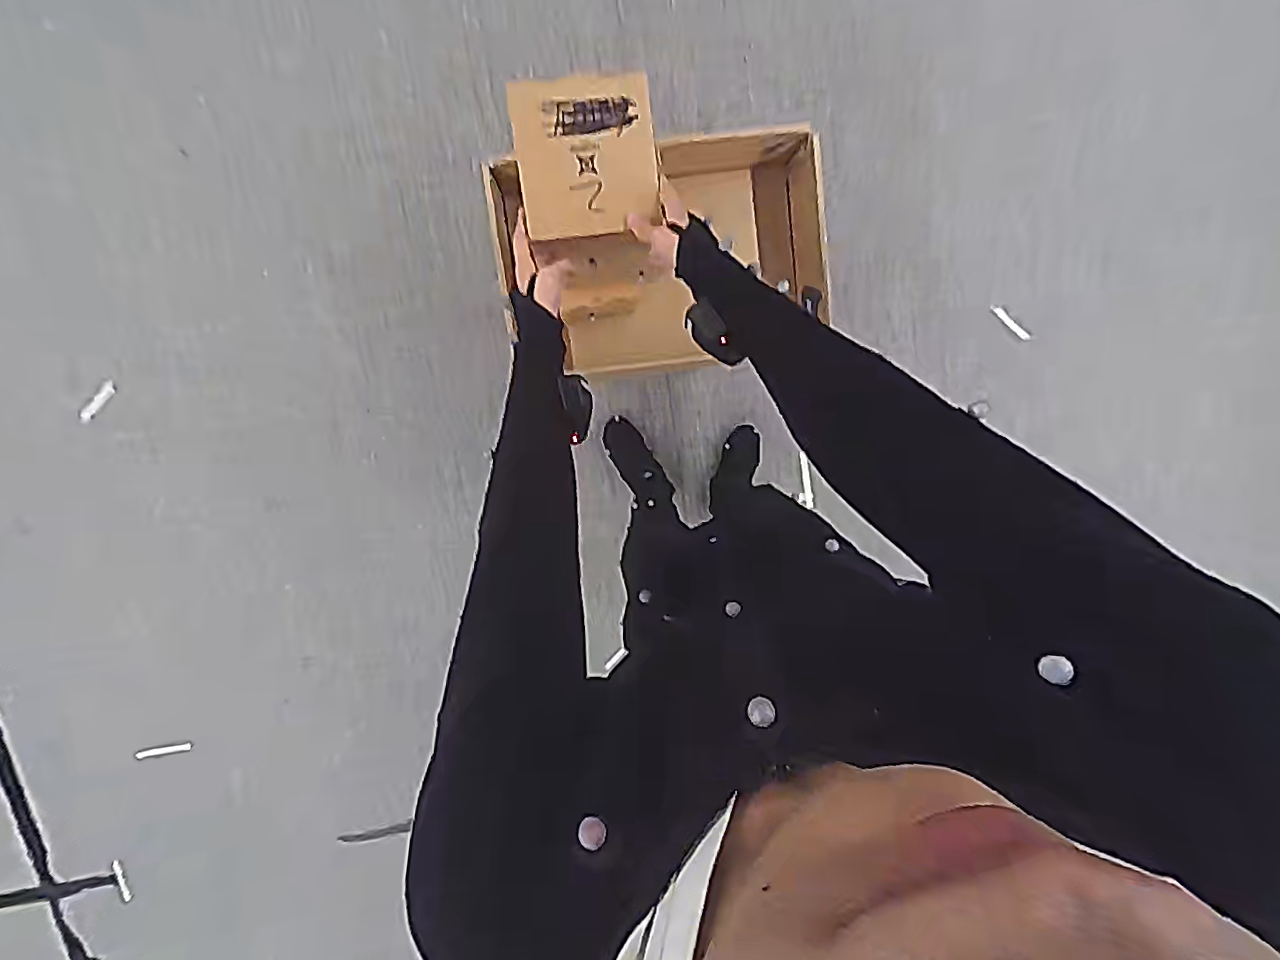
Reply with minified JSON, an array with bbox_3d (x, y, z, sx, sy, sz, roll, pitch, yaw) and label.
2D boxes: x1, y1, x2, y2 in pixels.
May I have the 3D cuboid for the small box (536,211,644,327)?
[{"bbox_3d":[-0.097,-0.408,1.040,0.168,0.176,0.179,-13,99,-3],"label":"small box"}]

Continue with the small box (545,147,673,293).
[{"bbox_3d":[-0.053,-0.411,0.878,0.179,0.176,0.168,-9,99,-4],"label":"small box"}]
